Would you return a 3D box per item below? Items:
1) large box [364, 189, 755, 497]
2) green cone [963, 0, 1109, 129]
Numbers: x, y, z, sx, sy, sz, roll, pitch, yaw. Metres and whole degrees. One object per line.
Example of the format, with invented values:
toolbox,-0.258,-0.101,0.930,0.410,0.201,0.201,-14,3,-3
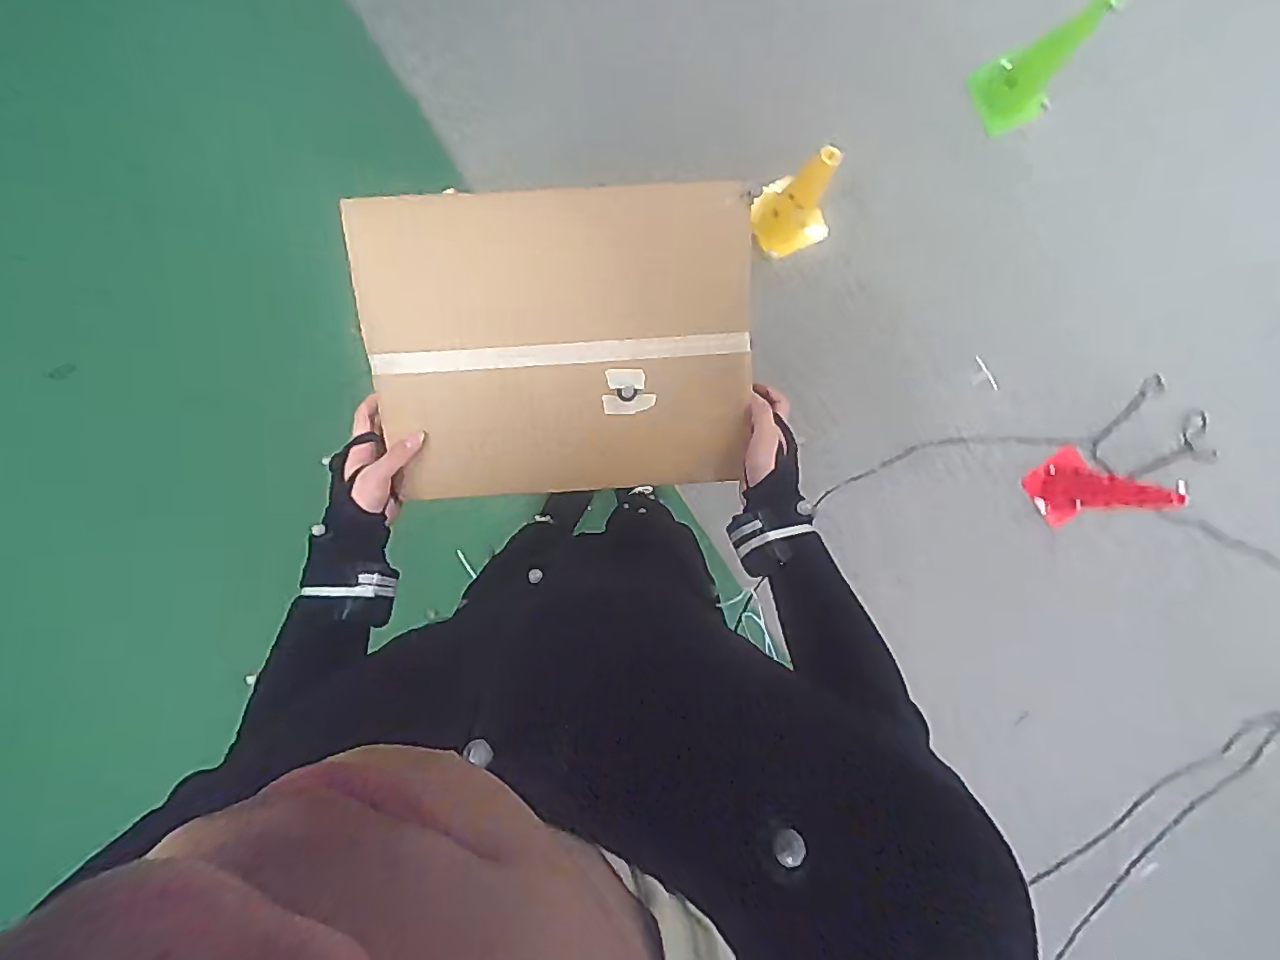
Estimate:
large box,-0.083,-0.180,0.730,0.408,0.320,0.320,-3,107,-3
green cone,1.072,-1.147,1.415,0.202,0.368,0.200,-29,95,1
